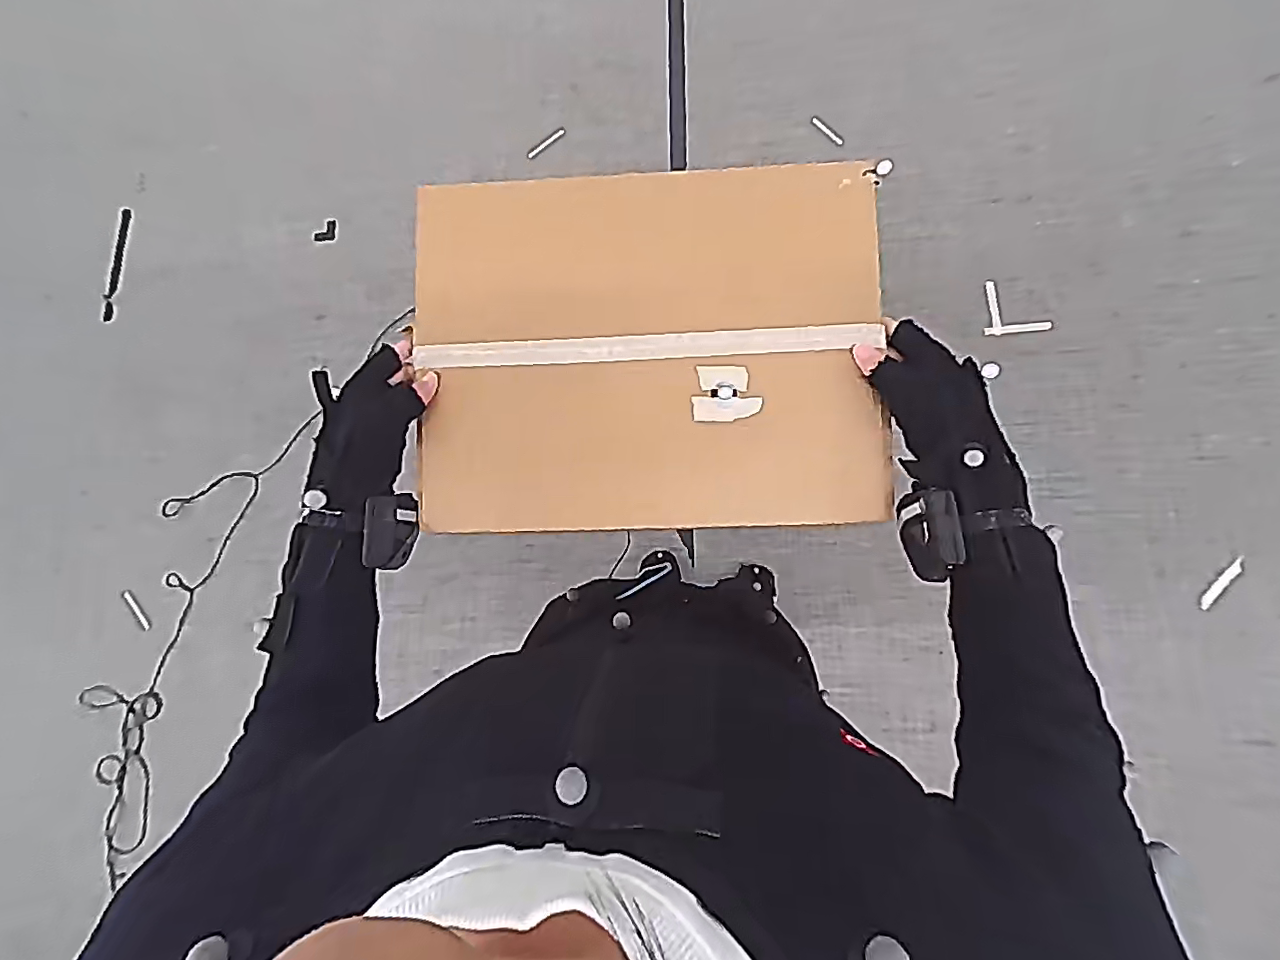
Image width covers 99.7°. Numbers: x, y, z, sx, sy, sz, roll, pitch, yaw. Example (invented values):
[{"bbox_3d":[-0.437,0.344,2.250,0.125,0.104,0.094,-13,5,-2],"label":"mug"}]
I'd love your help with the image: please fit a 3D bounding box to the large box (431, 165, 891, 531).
[{"bbox_3d":[0.016,-0.109,0.628,0.408,0.320,0.320,-2,87,2],"label":"large box"}]
